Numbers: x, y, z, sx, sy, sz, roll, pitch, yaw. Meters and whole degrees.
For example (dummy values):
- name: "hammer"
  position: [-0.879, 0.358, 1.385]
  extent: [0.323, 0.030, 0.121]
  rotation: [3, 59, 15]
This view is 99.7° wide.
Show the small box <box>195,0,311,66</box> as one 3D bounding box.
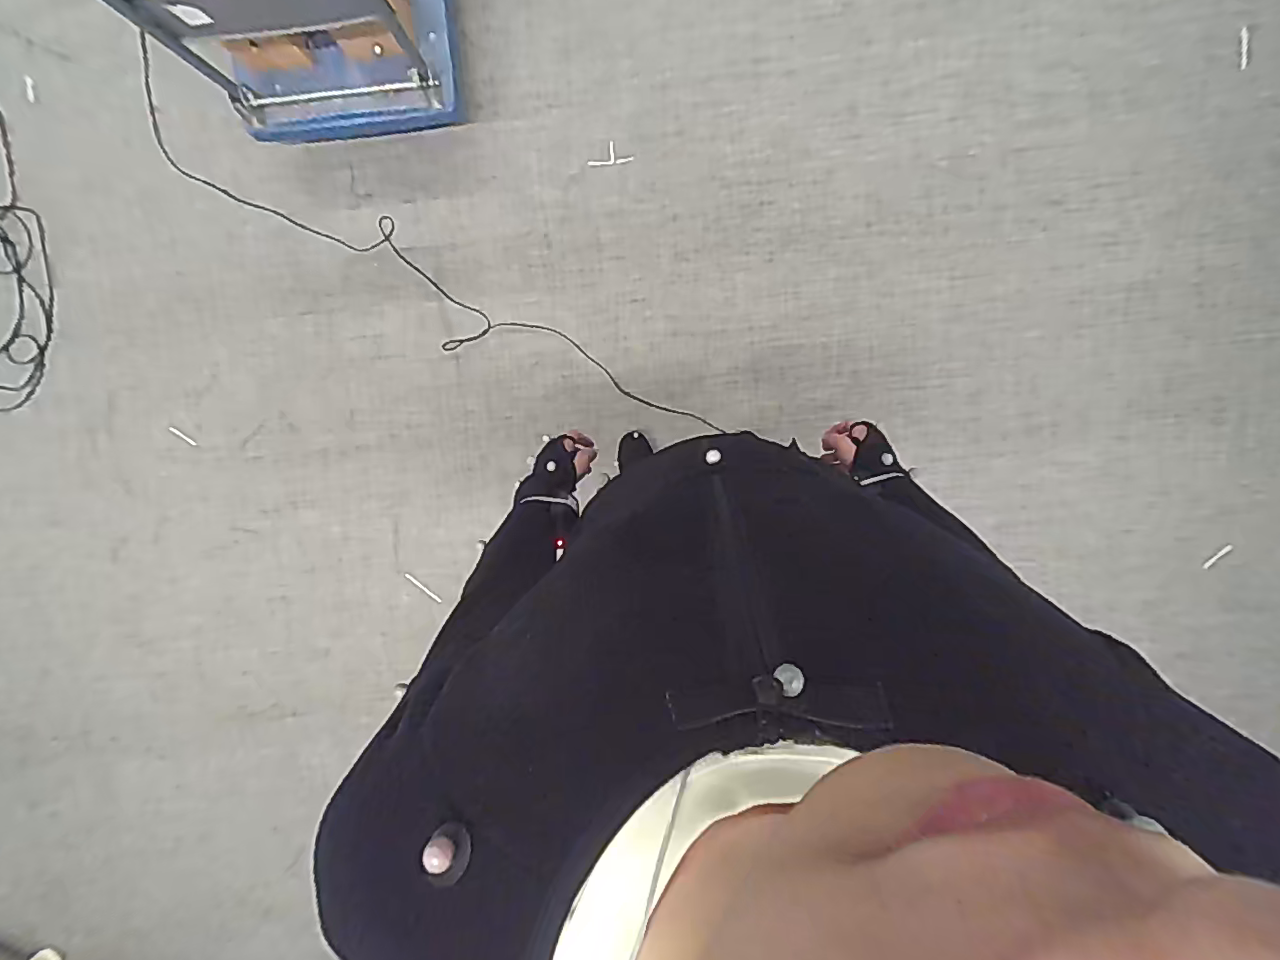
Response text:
- name: "small box"
  position: [-0.922, -1.135, 1.298]
  extent: [0.179, 0.176, 0.168]
  rotation: [-2, 95, 3]

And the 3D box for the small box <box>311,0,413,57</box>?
- name: "small box"
  position: [-0.660, -1.155, 1.287]
  extent: [0.179, 0.176, 0.168]
  rotation: [-6, 95, 2]
